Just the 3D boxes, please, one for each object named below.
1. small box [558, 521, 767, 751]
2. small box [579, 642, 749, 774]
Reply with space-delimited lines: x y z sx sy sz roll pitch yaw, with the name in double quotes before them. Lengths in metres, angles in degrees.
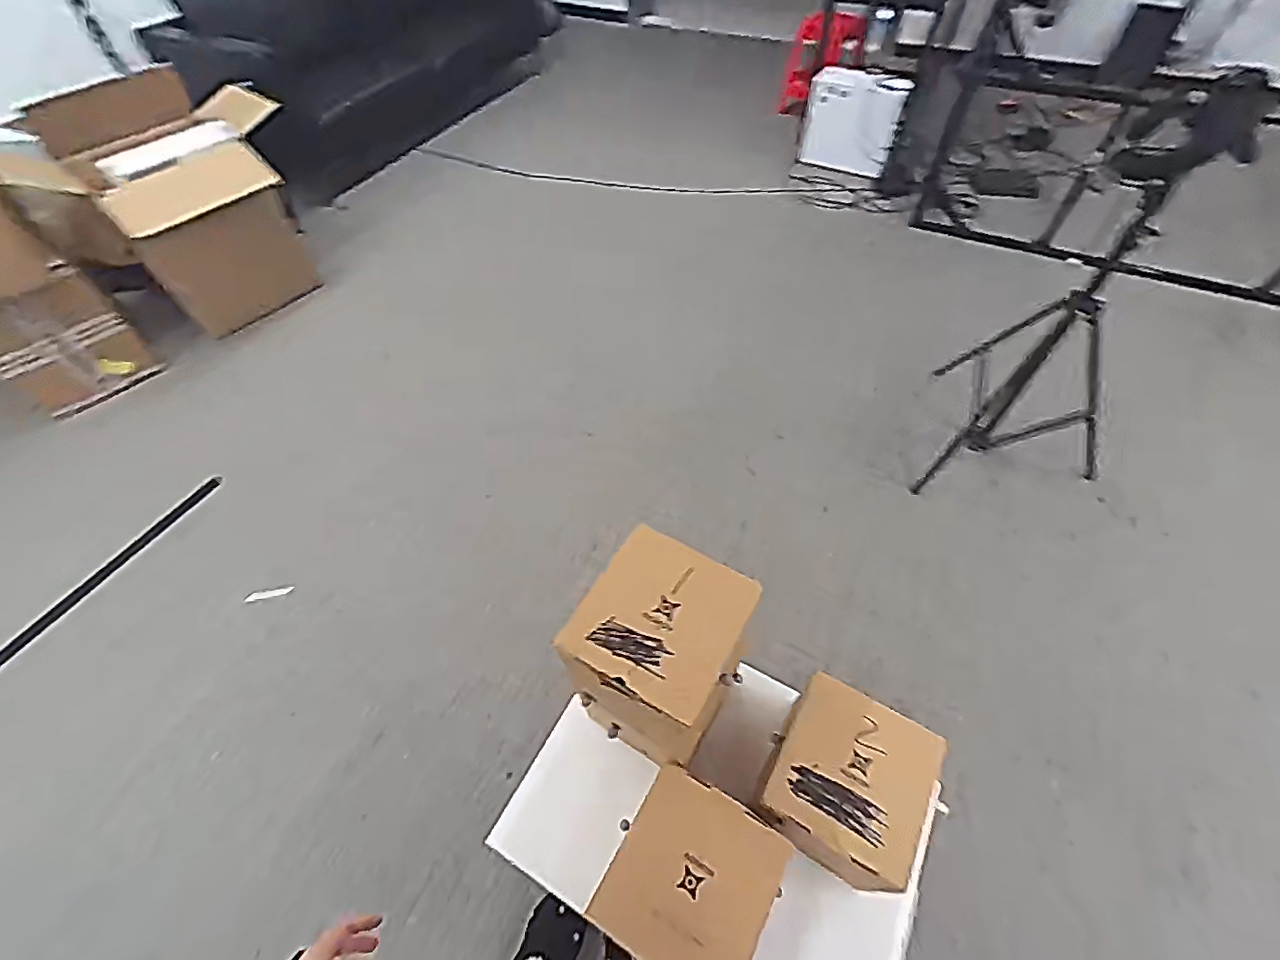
"small box" 0.030 0.188 0.640 0.168 0.176 0.179 26 58 19
"small box" 0.037 0.287 0.771 0.168 0.176 0.179 27 59 20
